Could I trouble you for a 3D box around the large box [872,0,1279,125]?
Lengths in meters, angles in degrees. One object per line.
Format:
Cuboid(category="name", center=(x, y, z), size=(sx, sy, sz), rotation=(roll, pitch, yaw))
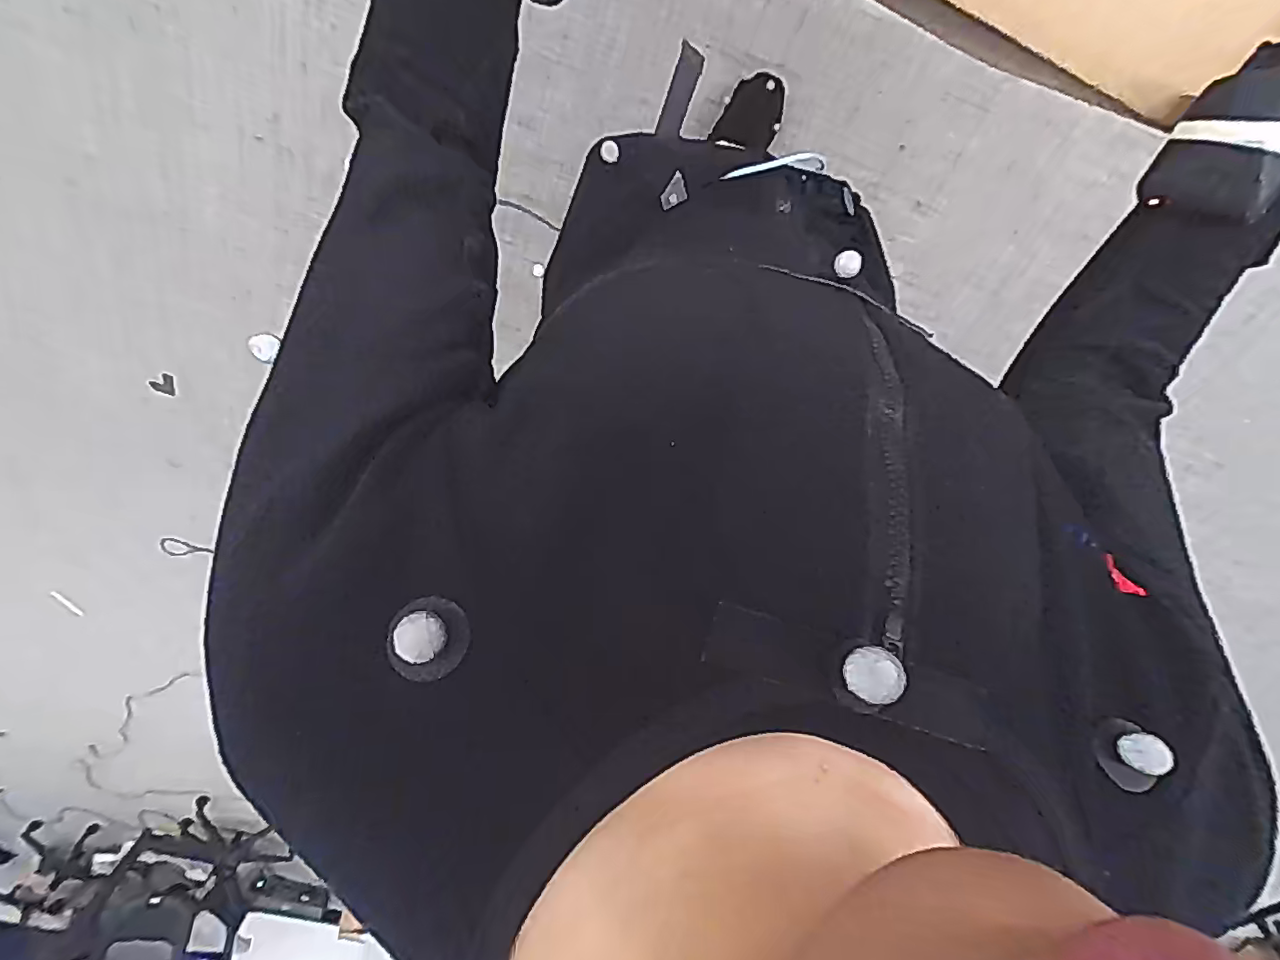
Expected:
Cuboid(category="large box", center=(0.211, -0.481, 0.305), size=(0.408, 0.320, 0.320), rotation=(18, 134, -11))
